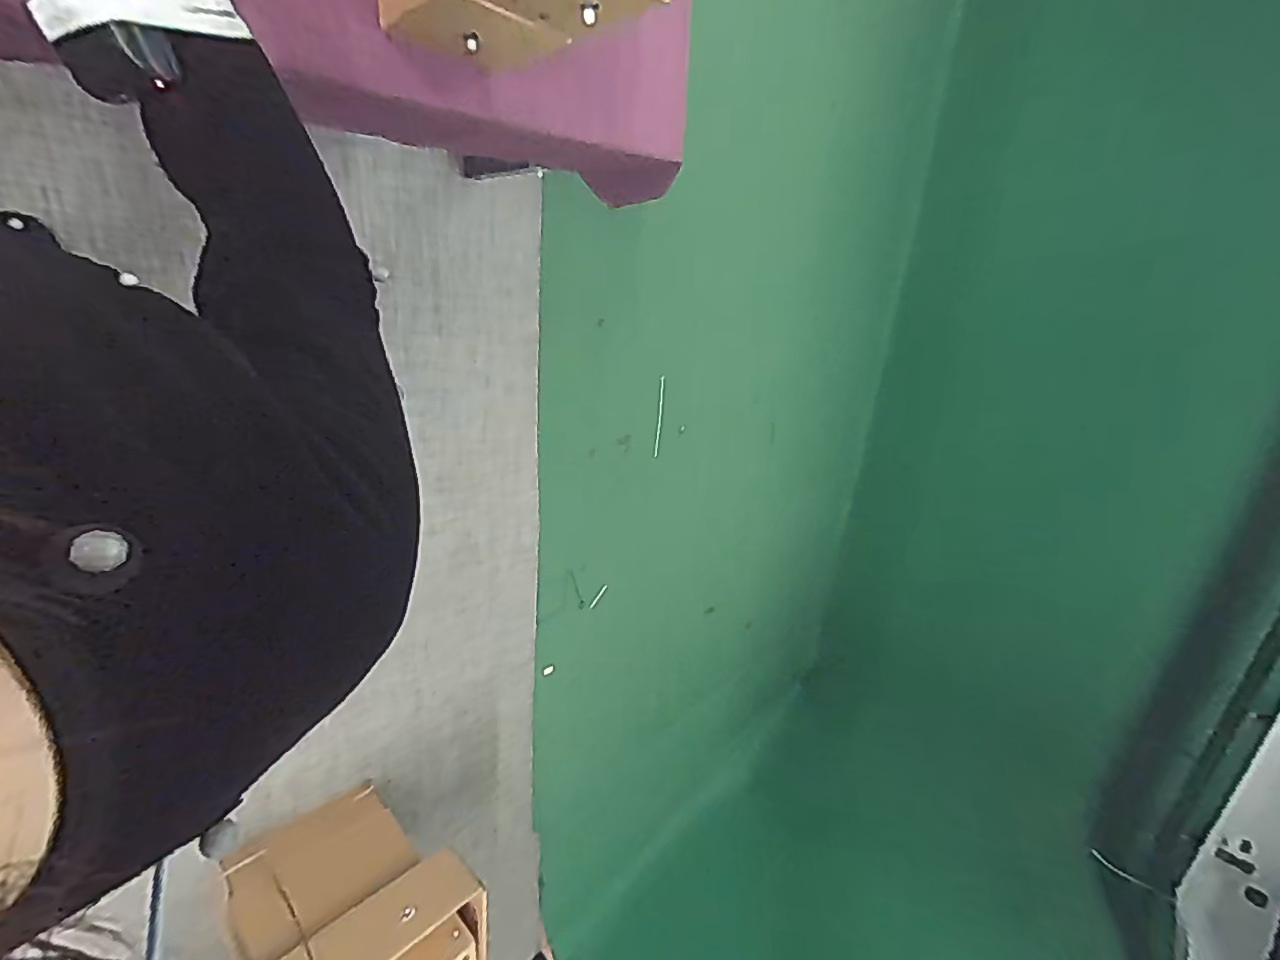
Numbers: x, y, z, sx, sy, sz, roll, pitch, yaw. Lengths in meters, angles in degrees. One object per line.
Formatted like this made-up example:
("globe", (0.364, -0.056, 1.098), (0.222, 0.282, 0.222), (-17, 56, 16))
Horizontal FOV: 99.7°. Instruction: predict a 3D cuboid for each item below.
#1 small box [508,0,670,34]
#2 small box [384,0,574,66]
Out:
("small box", (-0.074, -0.578, 0.522), (0.168, 0.176, 0.179), (-15, 116, -44))
("small box", (-0.191, -0.619, 0.628), (0.168, 0.176, 0.179), (-17, 118, -43))
